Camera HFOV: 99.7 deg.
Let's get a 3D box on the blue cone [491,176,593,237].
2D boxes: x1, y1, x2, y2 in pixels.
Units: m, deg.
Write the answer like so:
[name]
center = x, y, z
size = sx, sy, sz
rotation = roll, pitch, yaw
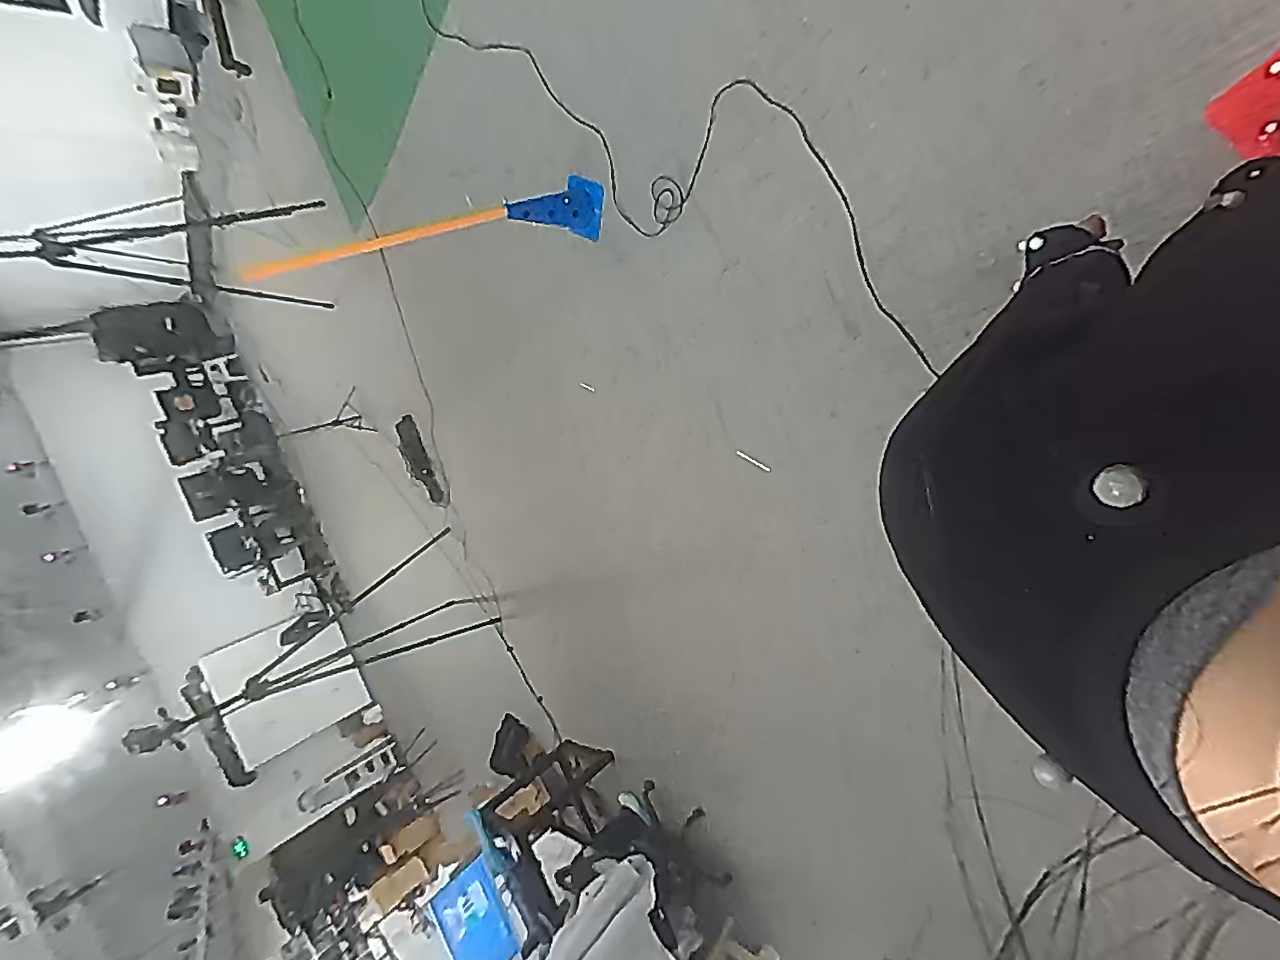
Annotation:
[blue cone]
center = -0.360, -0.976, 1.943
size = 0.192, 0.380, 0.193
rotation = 34, 133, 30
